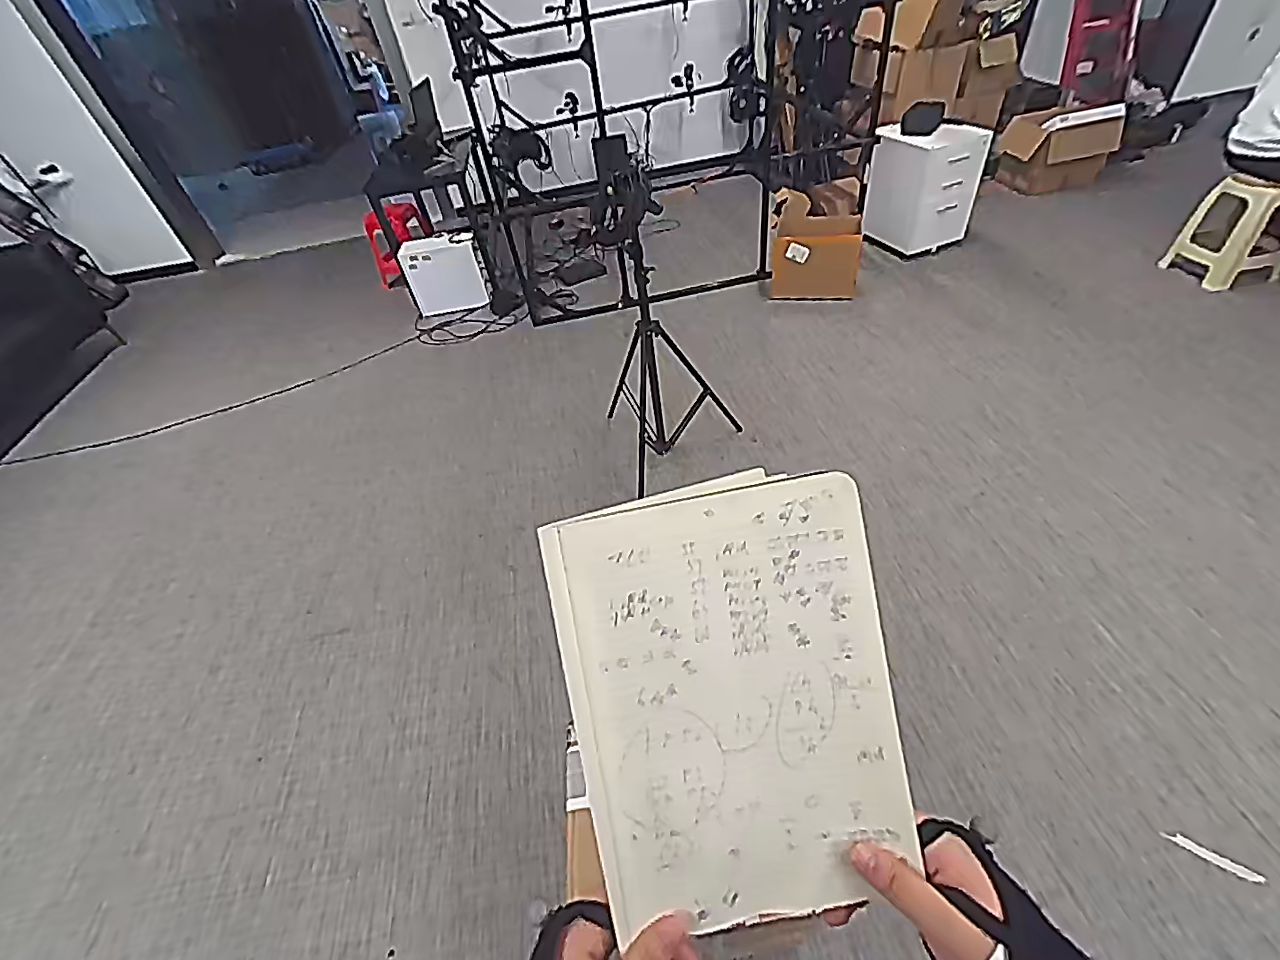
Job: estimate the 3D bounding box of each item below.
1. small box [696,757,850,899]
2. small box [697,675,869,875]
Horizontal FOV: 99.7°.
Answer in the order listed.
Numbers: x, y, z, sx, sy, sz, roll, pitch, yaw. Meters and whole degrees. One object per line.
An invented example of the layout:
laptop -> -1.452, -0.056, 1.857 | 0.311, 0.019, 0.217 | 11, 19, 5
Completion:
small box -> 0.191, 0.513, 0.829 | 0.179, 0.176, 0.168 | -13, 45, -4
small box -> 0.172, 0.392, 0.720 | 0.168, 0.176, 0.179 | -10, 44, -3
